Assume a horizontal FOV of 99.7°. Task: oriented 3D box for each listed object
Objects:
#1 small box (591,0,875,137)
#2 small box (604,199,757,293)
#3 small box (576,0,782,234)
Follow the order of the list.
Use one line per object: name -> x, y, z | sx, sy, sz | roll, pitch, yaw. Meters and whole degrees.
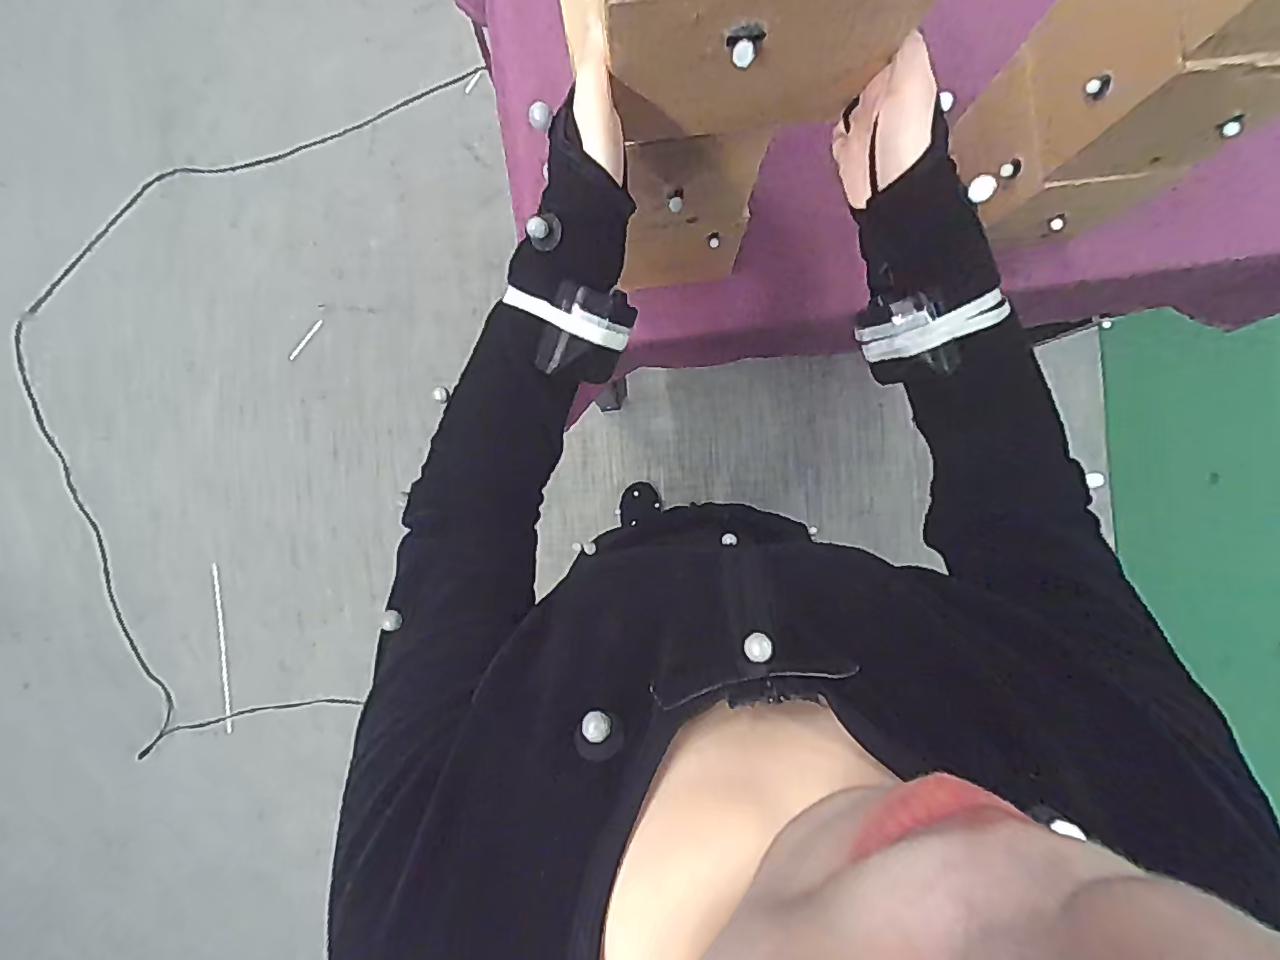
small box -> 0.052, -0.349, 0.344 | 0.179, 0.176, 0.168 | -7, 96, 0
small box -> 0.045, -0.363, 0.712 | 0.179, 0.176, 0.168 | -7, 88, 1
small box -> 0.035, -0.370, 0.547 | 0.168, 0.176, 0.179 | -8, 88, 1
